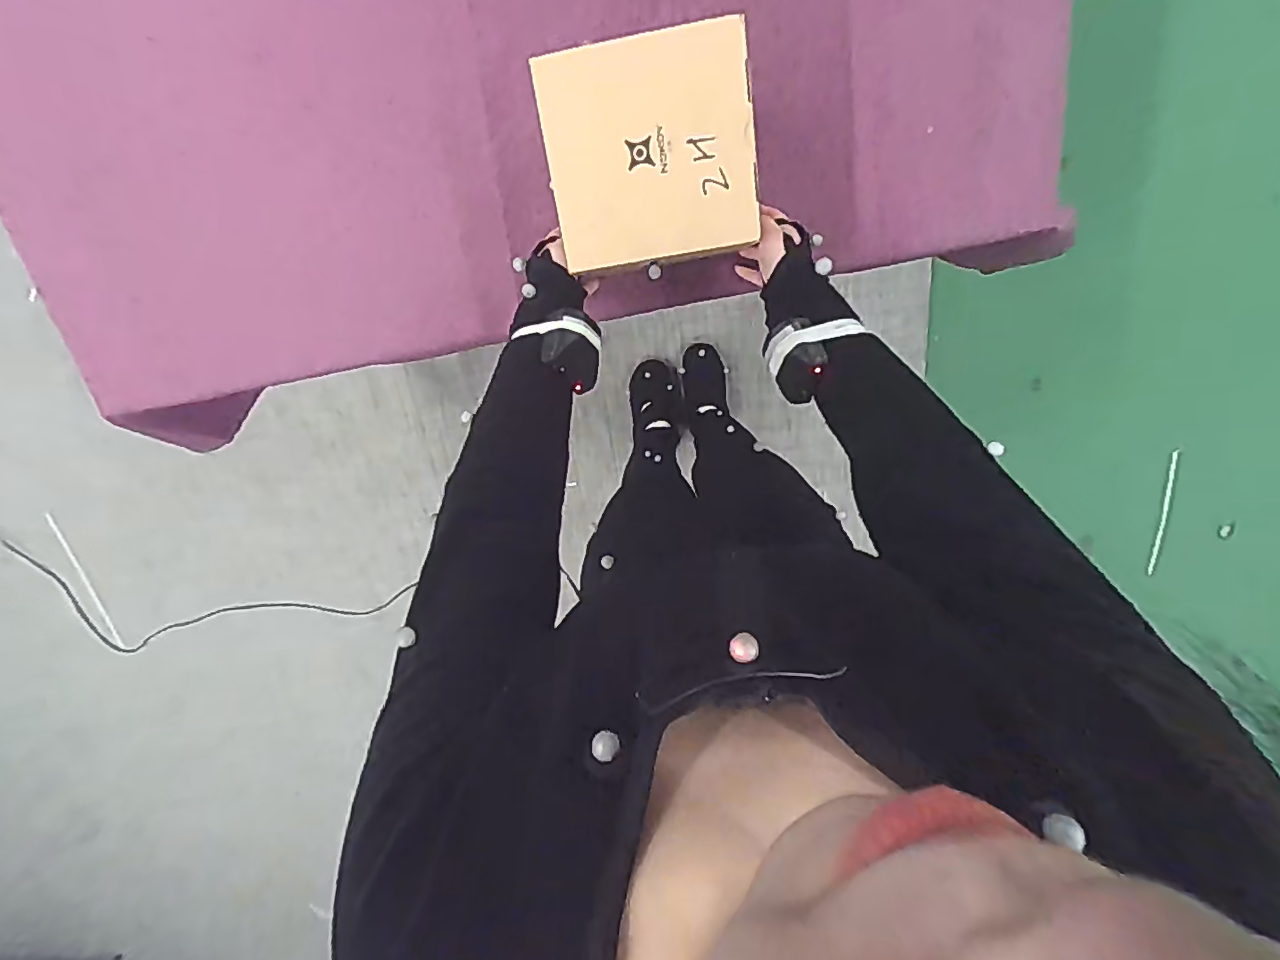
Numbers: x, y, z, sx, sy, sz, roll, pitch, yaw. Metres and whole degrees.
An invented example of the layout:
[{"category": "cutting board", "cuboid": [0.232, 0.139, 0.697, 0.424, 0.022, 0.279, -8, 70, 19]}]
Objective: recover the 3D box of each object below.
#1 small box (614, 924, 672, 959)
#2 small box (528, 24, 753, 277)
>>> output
[{"category": "small box", "cuboid": [0.011, 1.446, 1.579, 0.168, 0.176, 0.179, -1, 111, 3]}, {"category": "small box", "cuboid": [0.008, -0.298, 0.532, 0.179, 0.176, 0.168, -7, 109, 5]}]
